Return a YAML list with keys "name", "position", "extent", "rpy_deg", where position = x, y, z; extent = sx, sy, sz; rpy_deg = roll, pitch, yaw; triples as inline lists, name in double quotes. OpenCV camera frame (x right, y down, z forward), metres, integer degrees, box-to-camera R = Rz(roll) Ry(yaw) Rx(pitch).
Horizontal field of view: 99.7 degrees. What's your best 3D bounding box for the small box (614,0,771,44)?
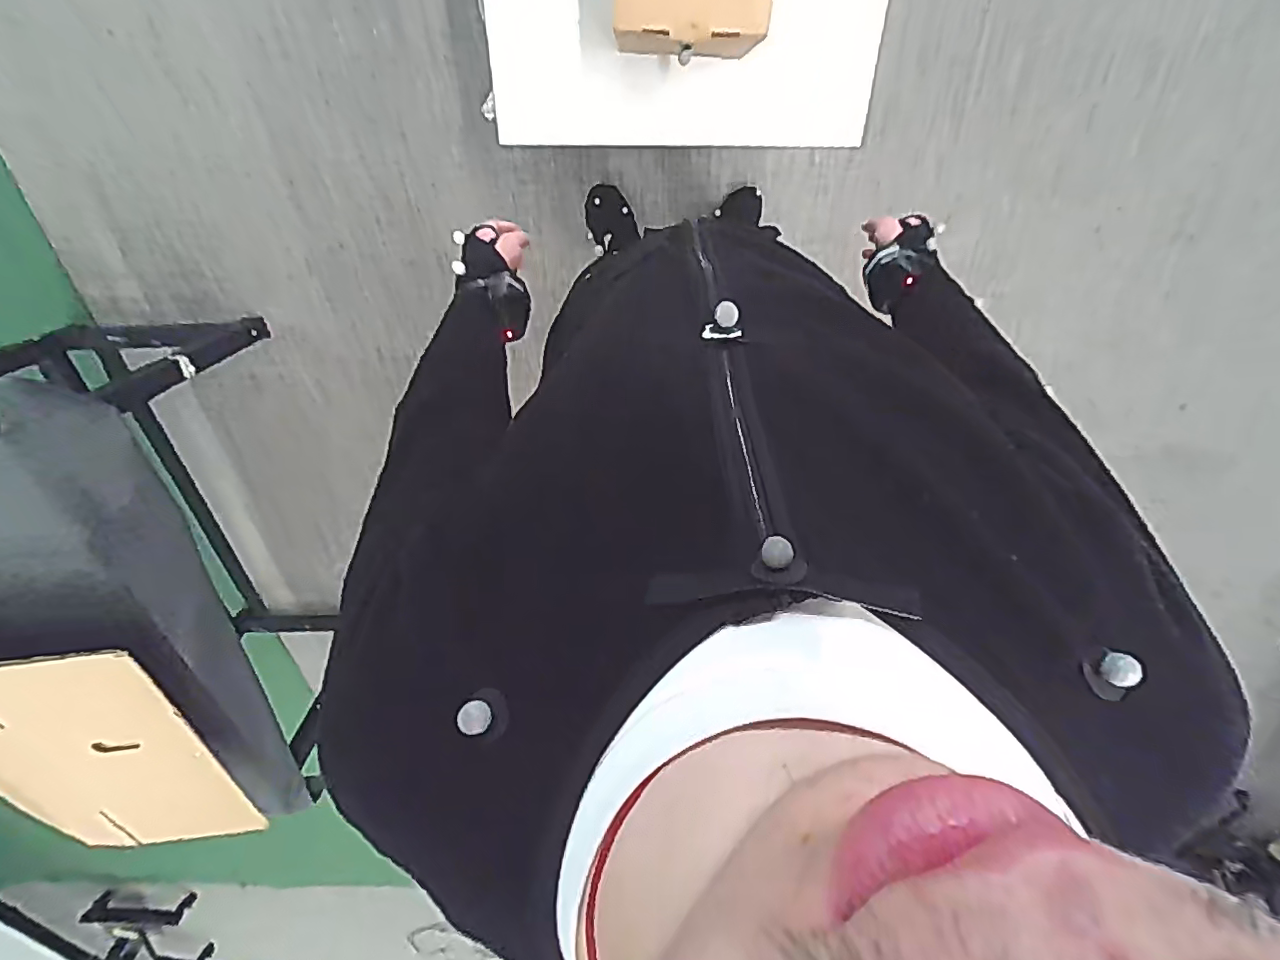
- name: "small box"
  position: [0.058, -0.594, 0.589]
  extent: [0.168, 0.176, 0.179]
  rpy_deg: [1, 123, 1]
